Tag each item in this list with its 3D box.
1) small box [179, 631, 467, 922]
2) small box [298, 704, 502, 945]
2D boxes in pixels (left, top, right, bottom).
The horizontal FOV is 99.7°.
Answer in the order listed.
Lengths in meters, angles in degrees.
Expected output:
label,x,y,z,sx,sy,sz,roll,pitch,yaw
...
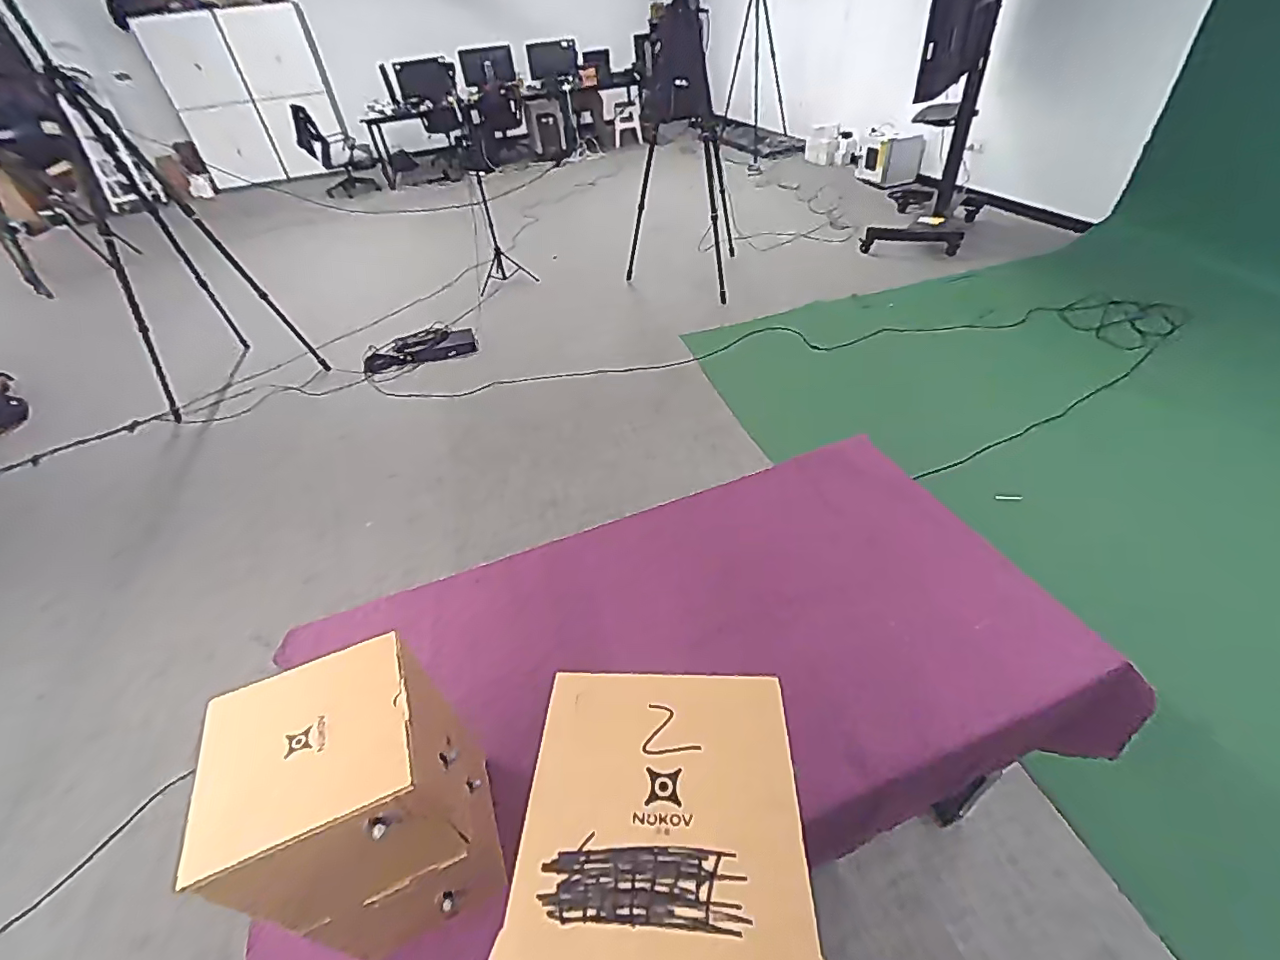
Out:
label,x,y,z,sx,sy,sz,roll,pitch,yaw
small box,-0.291,0.289,0.532,0.179,0.176,0.168,-19,43,-16
small box,-0.273,0.409,0.640,0.168,0.176,0.179,-18,42,-14
